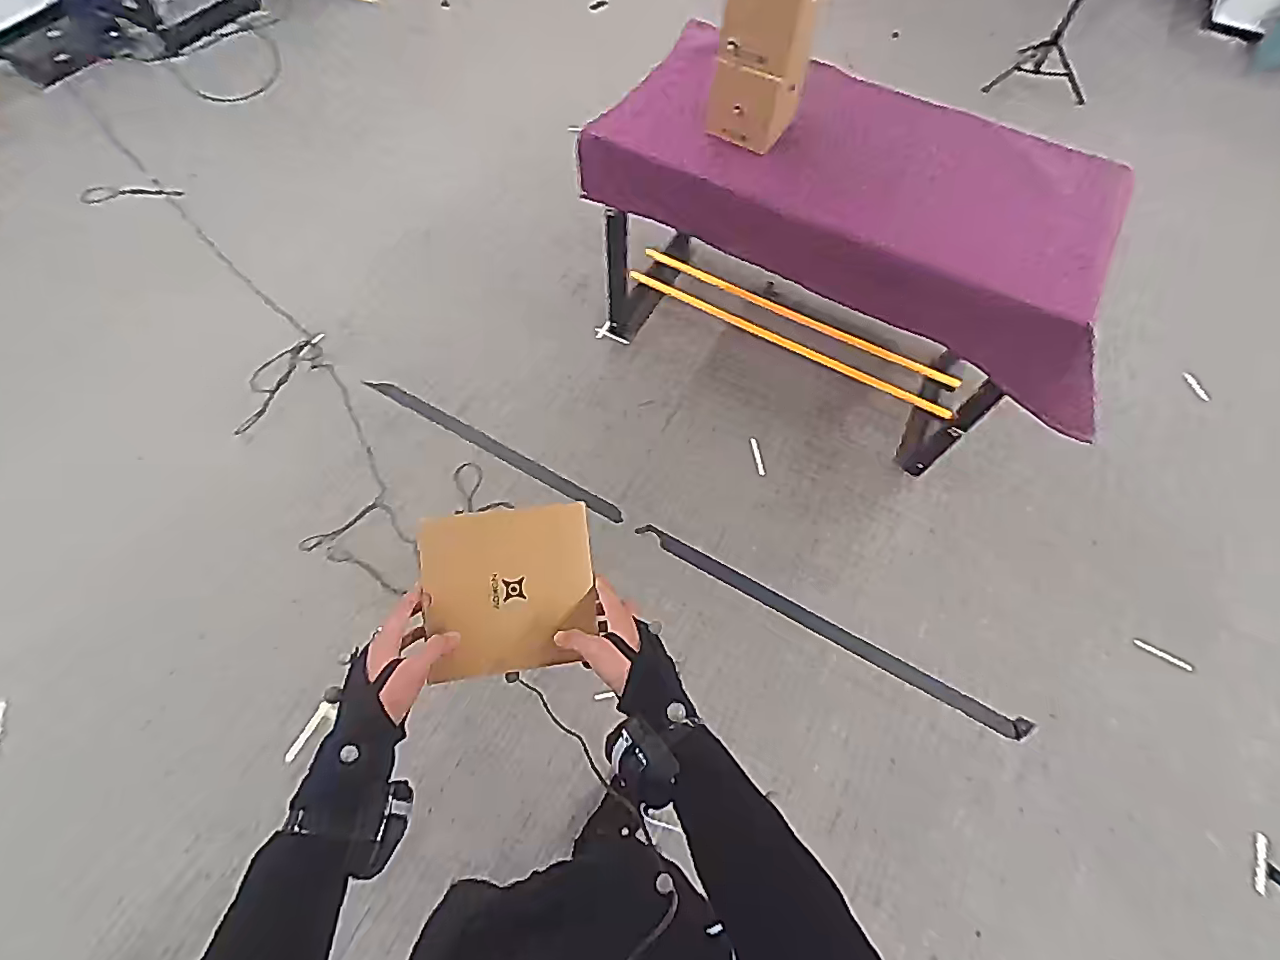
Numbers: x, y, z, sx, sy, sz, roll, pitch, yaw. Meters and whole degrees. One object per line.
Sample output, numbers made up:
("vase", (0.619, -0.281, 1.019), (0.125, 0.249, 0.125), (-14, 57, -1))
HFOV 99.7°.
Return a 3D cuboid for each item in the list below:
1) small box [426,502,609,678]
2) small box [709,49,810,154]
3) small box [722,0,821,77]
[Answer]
("small box", (-0.137, 0.119, 0.633), (0.179, 0.176, 0.168), (-5, 83, -9))
("small box", (0.280, -0.930, 1.305), (0.168, 0.176, 0.179), (30, 67, 12))
("small box", (0.287, -1.013, 1.163), (0.168, 0.176, 0.179), (26, 65, 10))
